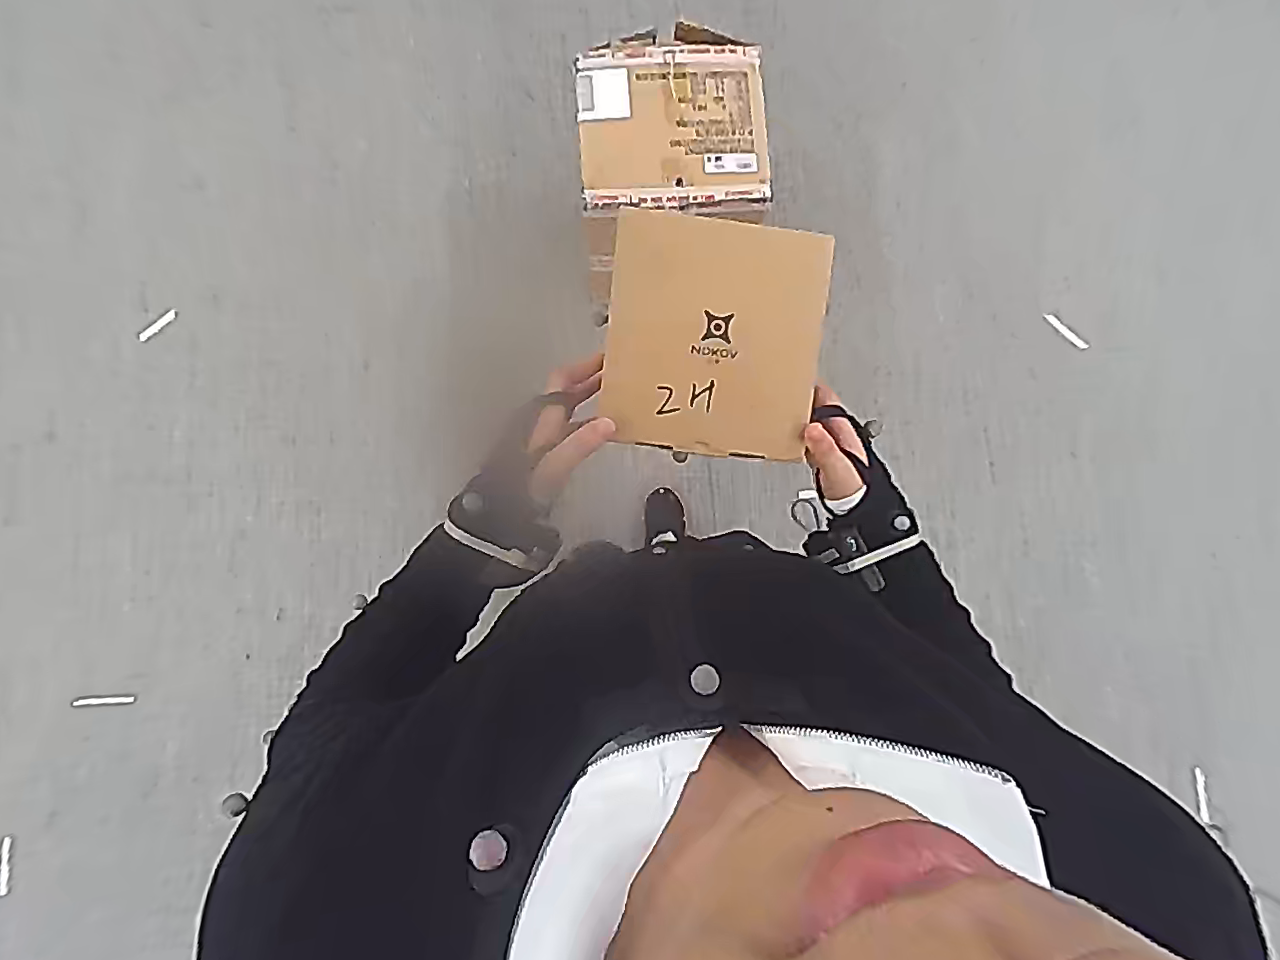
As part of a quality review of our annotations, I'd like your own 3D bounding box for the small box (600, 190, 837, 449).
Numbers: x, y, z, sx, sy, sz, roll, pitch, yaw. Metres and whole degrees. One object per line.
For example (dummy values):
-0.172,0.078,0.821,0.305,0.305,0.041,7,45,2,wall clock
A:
0.055,-0.127,0.487,0.168,0.176,0.179,6,96,-3,small box
